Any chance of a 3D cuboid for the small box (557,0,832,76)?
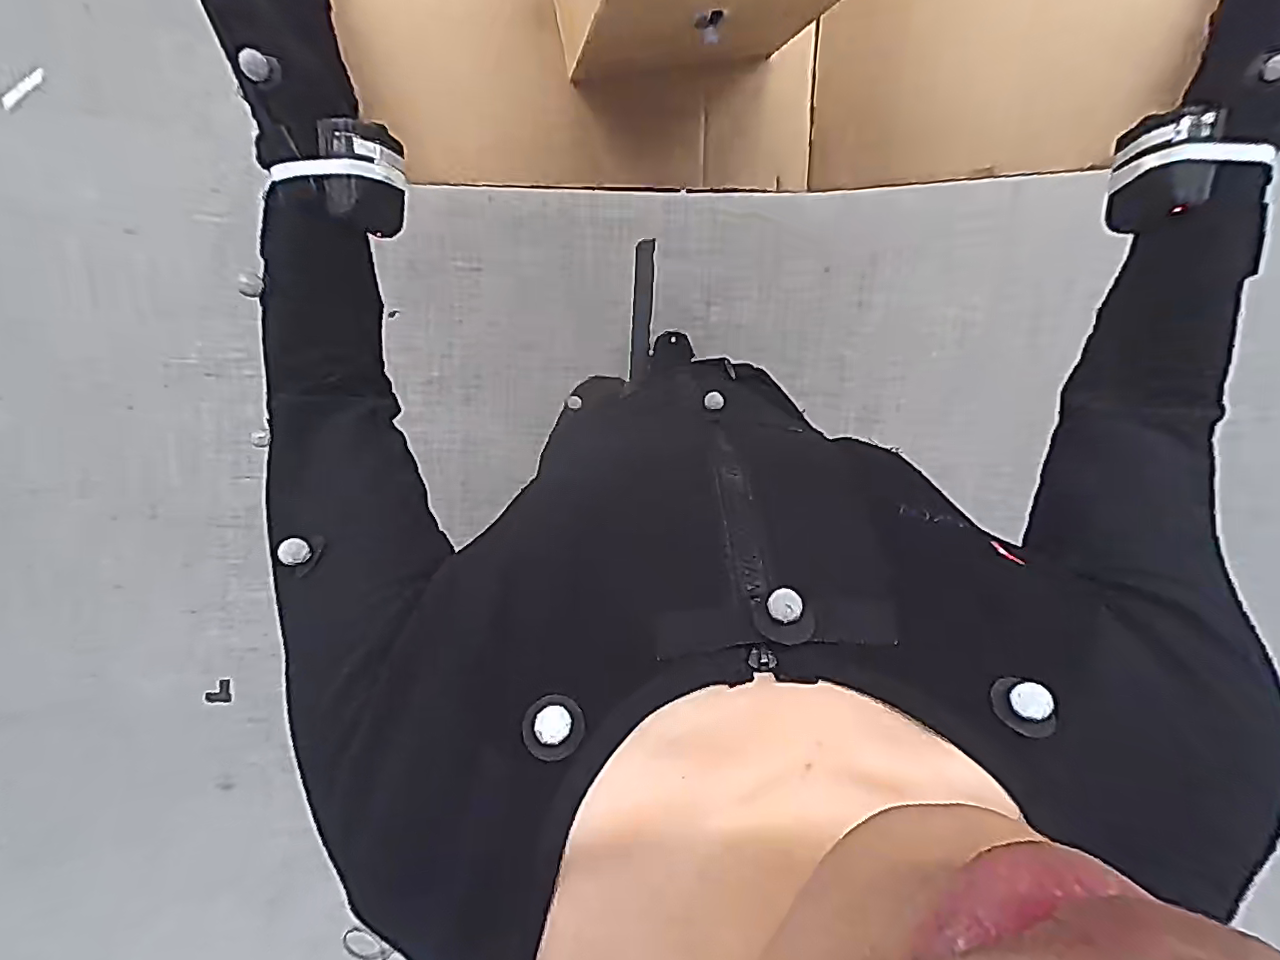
[{"bbox_3d":[0.036,-0.383,0.336,0.179,0.176,0.168,-15,112,-9],"label":"small box"}]
